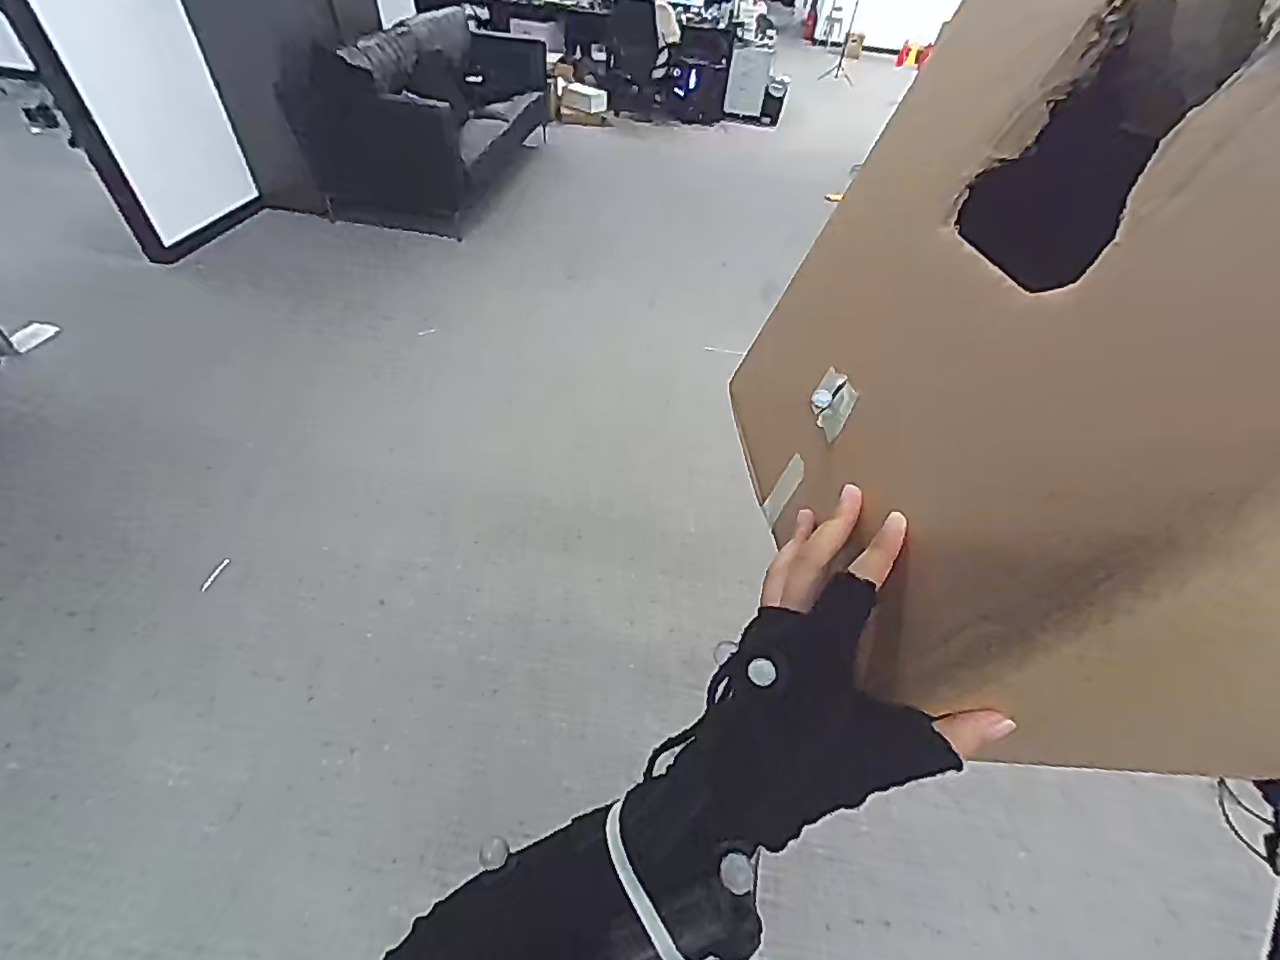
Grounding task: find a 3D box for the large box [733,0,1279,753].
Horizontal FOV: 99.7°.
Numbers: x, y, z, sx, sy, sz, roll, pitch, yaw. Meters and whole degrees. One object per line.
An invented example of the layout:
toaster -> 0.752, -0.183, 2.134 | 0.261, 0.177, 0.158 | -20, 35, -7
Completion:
large box -> 0.331, -0.035, 0.355 | 0.408, 0.320, 0.320 | 13, 44, -19
